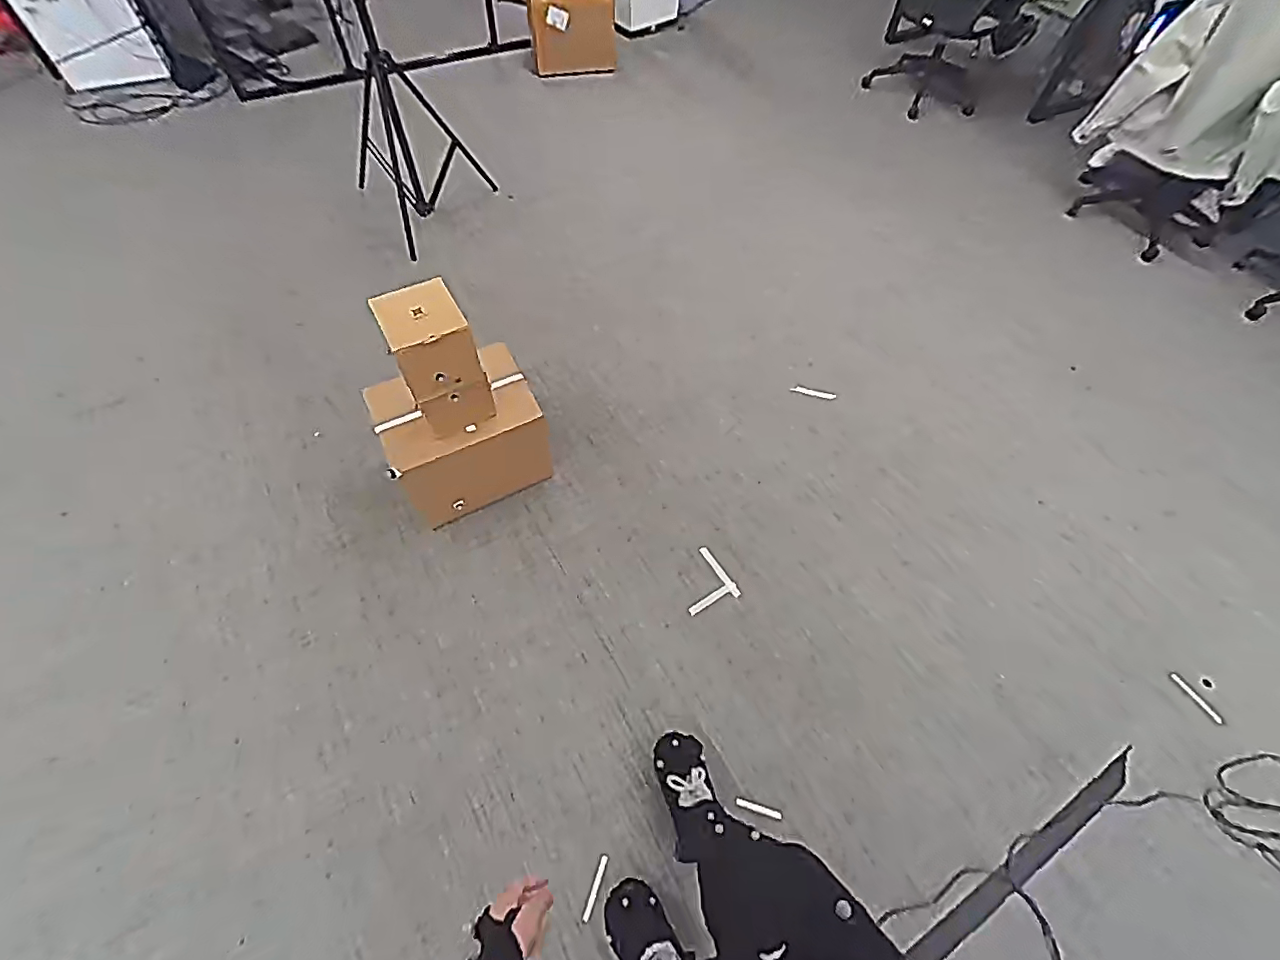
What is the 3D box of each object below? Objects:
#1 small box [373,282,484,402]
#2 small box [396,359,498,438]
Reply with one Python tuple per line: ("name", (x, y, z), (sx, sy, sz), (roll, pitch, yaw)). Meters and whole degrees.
("small box", (-0.475, -0.311, 1.230), (0.168, 0.176, 0.179), (-26, 65, -18))
("small box", (-0.483, -0.235, 1.373), (0.179, 0.176, 0.168), (-27, 65, -19))
